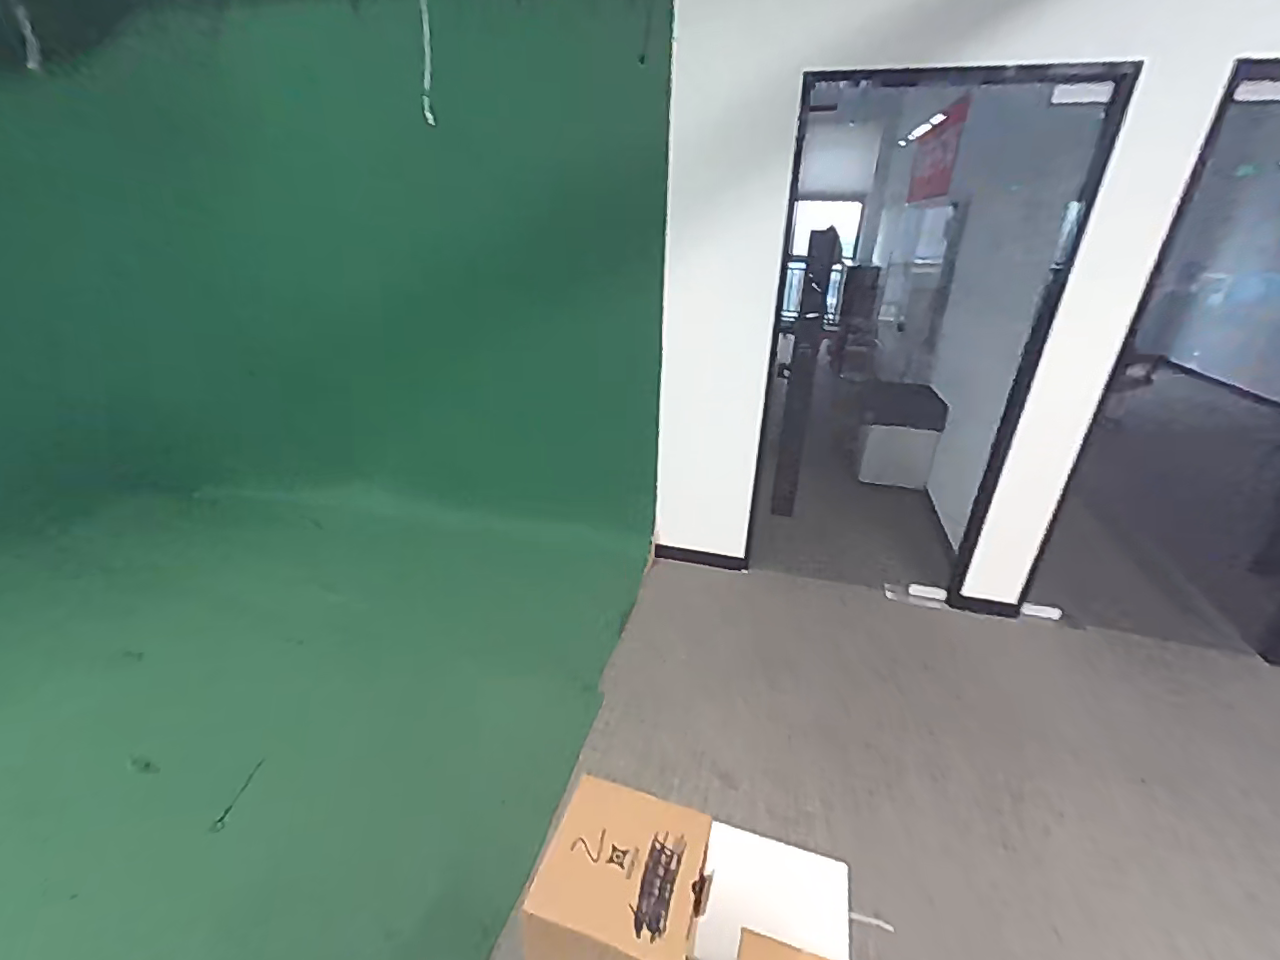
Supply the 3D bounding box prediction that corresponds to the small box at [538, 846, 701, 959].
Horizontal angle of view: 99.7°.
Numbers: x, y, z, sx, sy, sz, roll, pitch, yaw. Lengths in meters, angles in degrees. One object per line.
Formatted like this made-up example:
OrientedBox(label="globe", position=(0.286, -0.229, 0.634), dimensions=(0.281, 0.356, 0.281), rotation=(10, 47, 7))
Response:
OrientedBox(label="small box", position=(-0.025, 0.646, 0.725), dimensions=(0.179, 0.176, 0.168), rotation=(9, 28, 15))
